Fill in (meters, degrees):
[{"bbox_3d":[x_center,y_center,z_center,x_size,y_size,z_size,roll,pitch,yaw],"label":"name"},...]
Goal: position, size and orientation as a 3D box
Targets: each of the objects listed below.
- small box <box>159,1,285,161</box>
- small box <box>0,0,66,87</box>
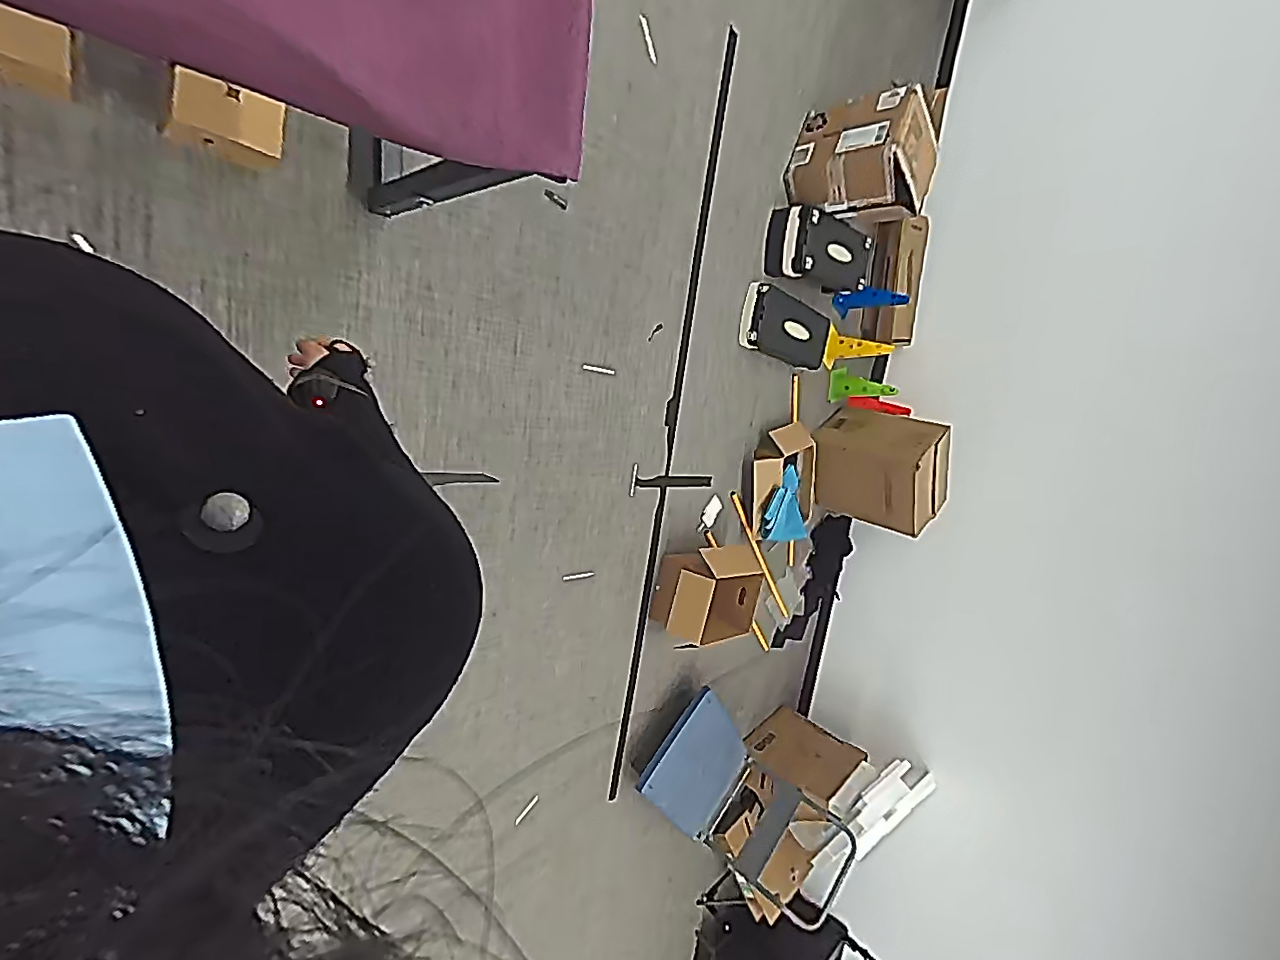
[{"bbox_3d":[-0.809,-0.749,1.044,0.168,0.176,0.179,3,101,-47],"label":"small box"},{"bbox_3d":[-1.007,-0.752,0.833,0.168,0.176,0.179,-1,104,-47],"label":"small box"}]
